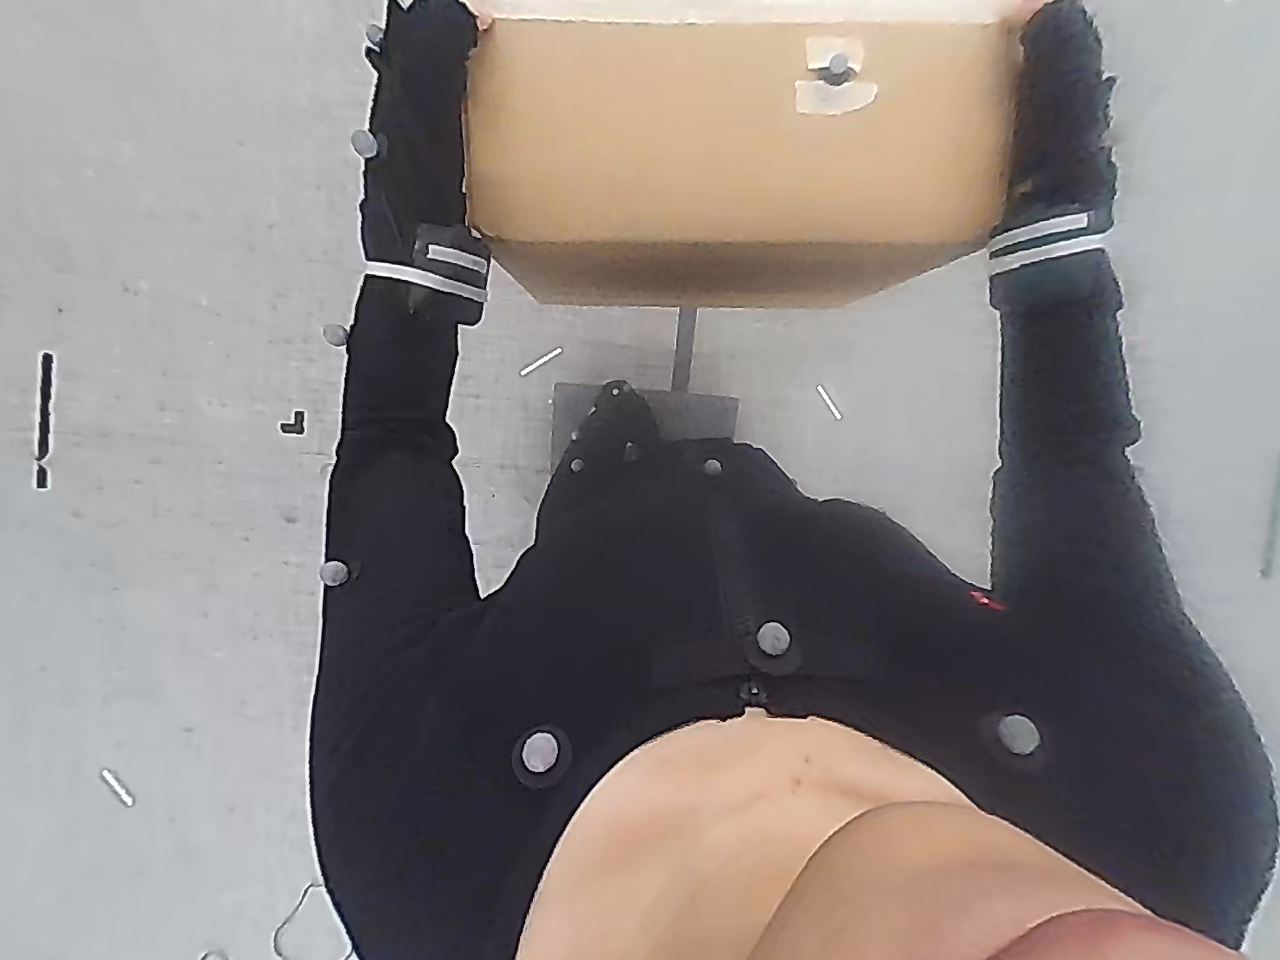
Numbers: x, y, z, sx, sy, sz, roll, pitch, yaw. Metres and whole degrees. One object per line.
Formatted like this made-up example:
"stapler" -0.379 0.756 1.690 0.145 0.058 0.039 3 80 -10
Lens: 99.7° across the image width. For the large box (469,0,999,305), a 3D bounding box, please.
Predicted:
"large box" 0.065 -0.365 0.550 0.408 0.320 0.320 0 99 -2
